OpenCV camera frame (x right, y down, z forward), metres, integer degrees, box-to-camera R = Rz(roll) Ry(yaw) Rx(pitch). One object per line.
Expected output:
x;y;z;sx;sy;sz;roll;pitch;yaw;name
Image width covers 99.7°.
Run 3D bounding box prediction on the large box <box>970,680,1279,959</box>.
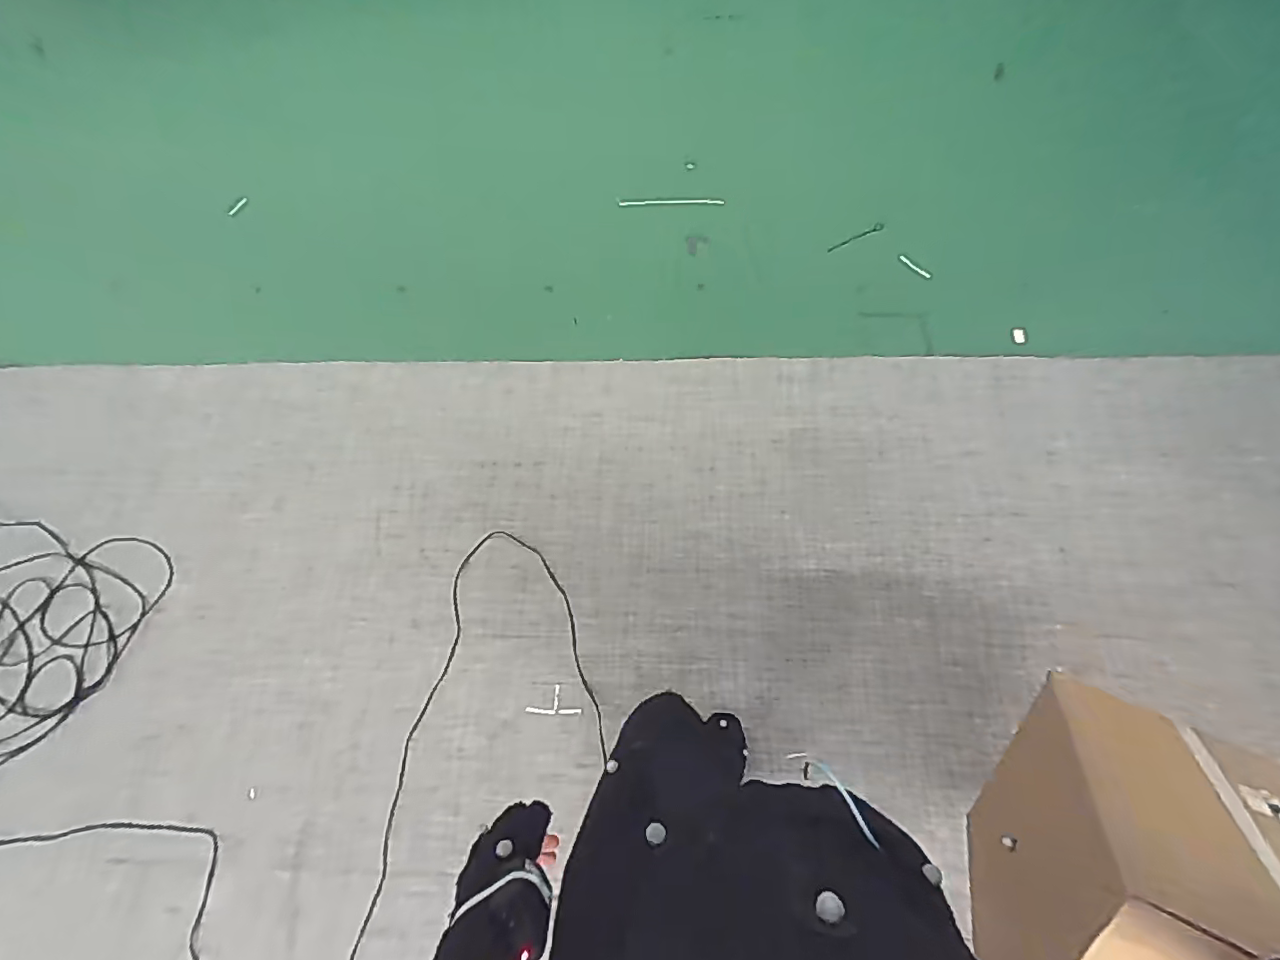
0.632;0.532;0.648;0.320;0.408;0.320;22;111;23;large box
